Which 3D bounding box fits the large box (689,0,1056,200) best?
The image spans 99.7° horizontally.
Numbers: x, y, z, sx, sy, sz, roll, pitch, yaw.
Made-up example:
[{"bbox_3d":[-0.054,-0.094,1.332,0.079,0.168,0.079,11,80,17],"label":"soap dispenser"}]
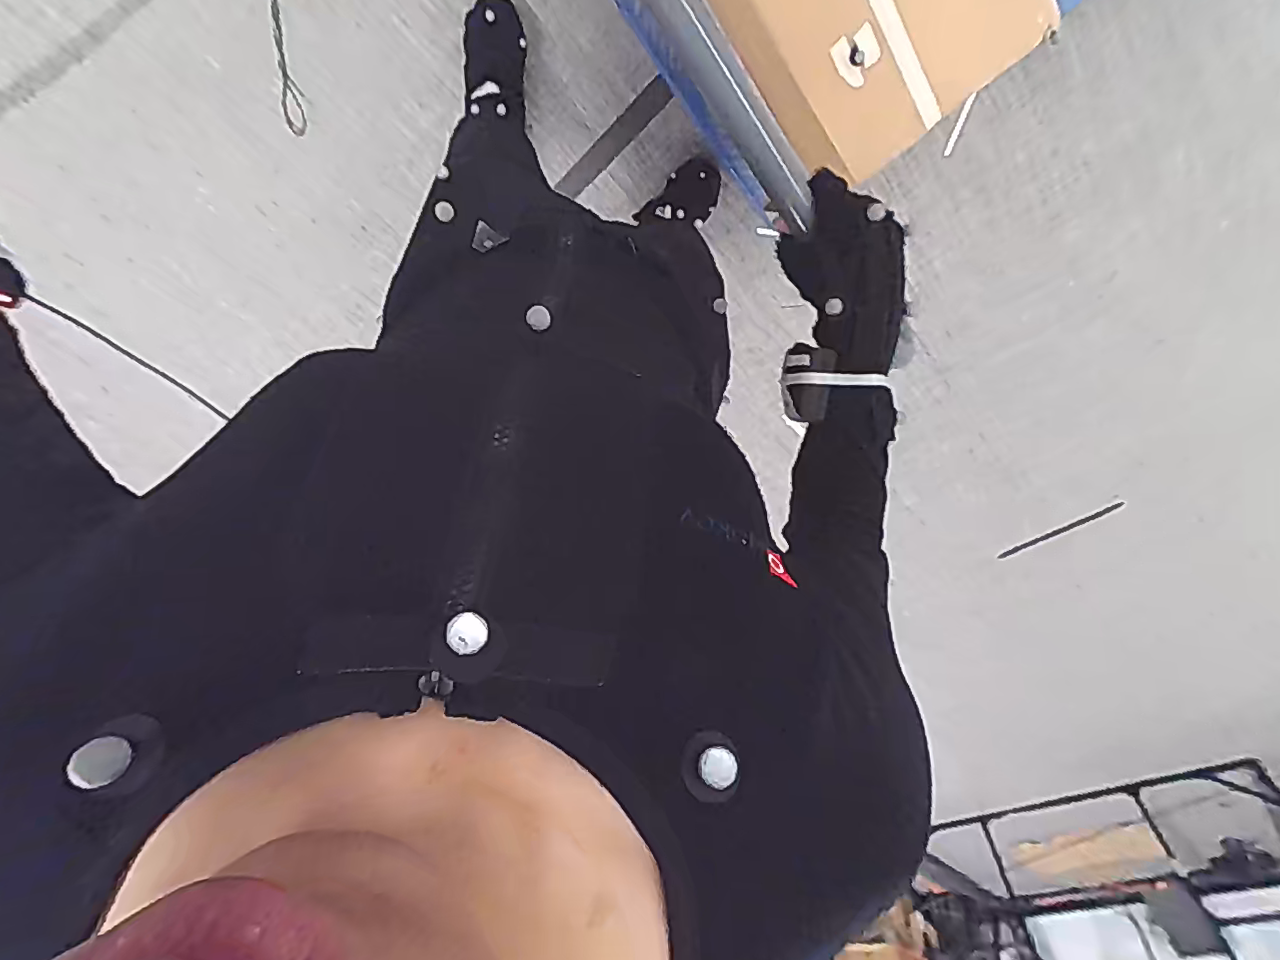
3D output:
[{"bbox_3d":[0.256,-0.686,0.729,0.320,0.320,0.408,-32,124,27],"label":"large box"}]
